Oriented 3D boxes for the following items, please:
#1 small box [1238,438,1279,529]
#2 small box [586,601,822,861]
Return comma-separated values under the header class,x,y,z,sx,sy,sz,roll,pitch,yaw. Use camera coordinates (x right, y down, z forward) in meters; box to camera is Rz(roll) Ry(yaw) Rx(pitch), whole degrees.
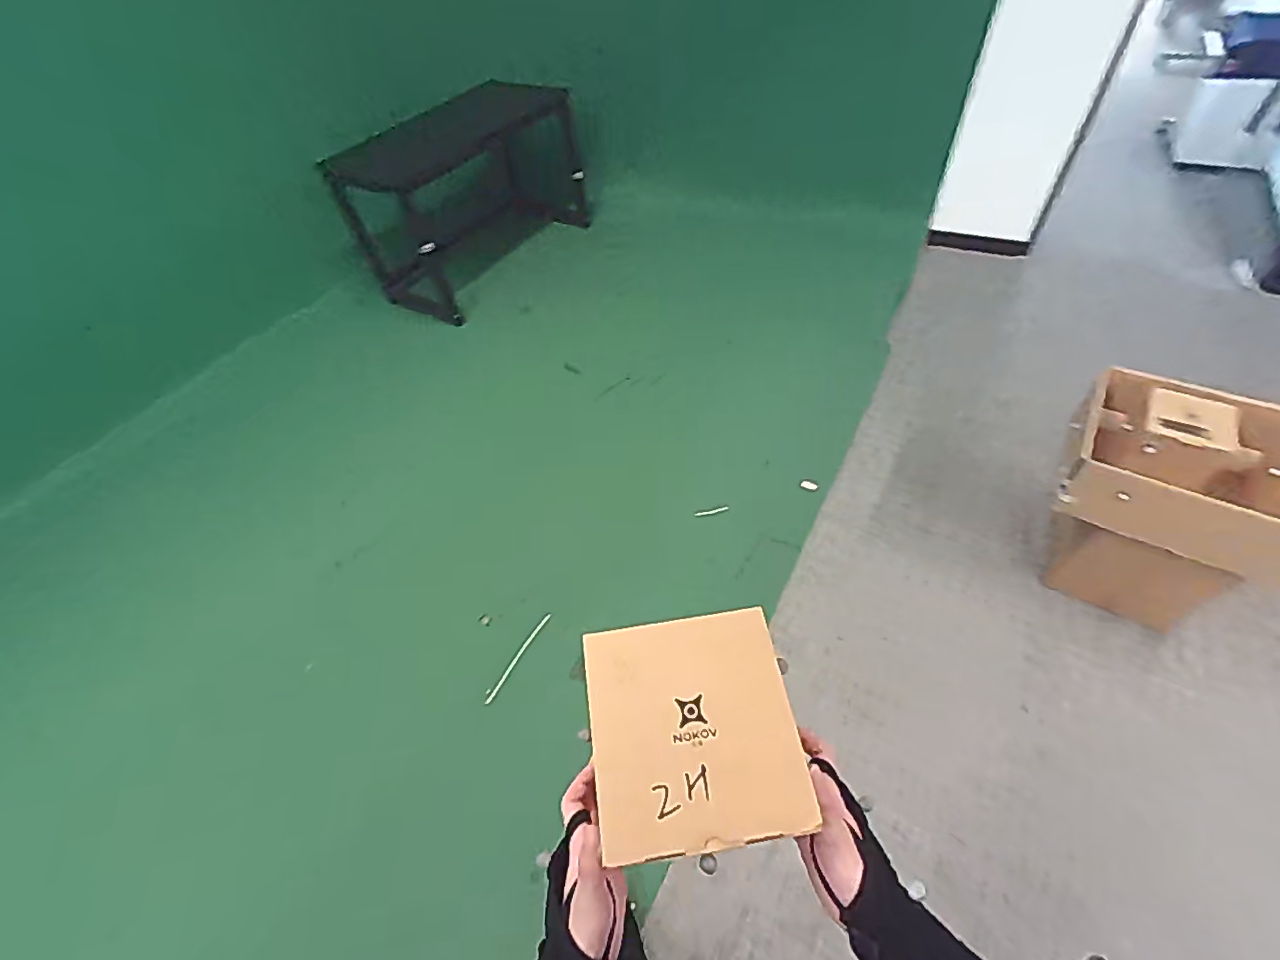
class,x,y,z,sx,sy,sz,roll,pitch,yaw
small box,1.514,0.007,1.218,0.168,0.176,0.179,25,60,25
small box,0.044,0.234,0.496,0.168,0.176,0.179,-8,55,-1
